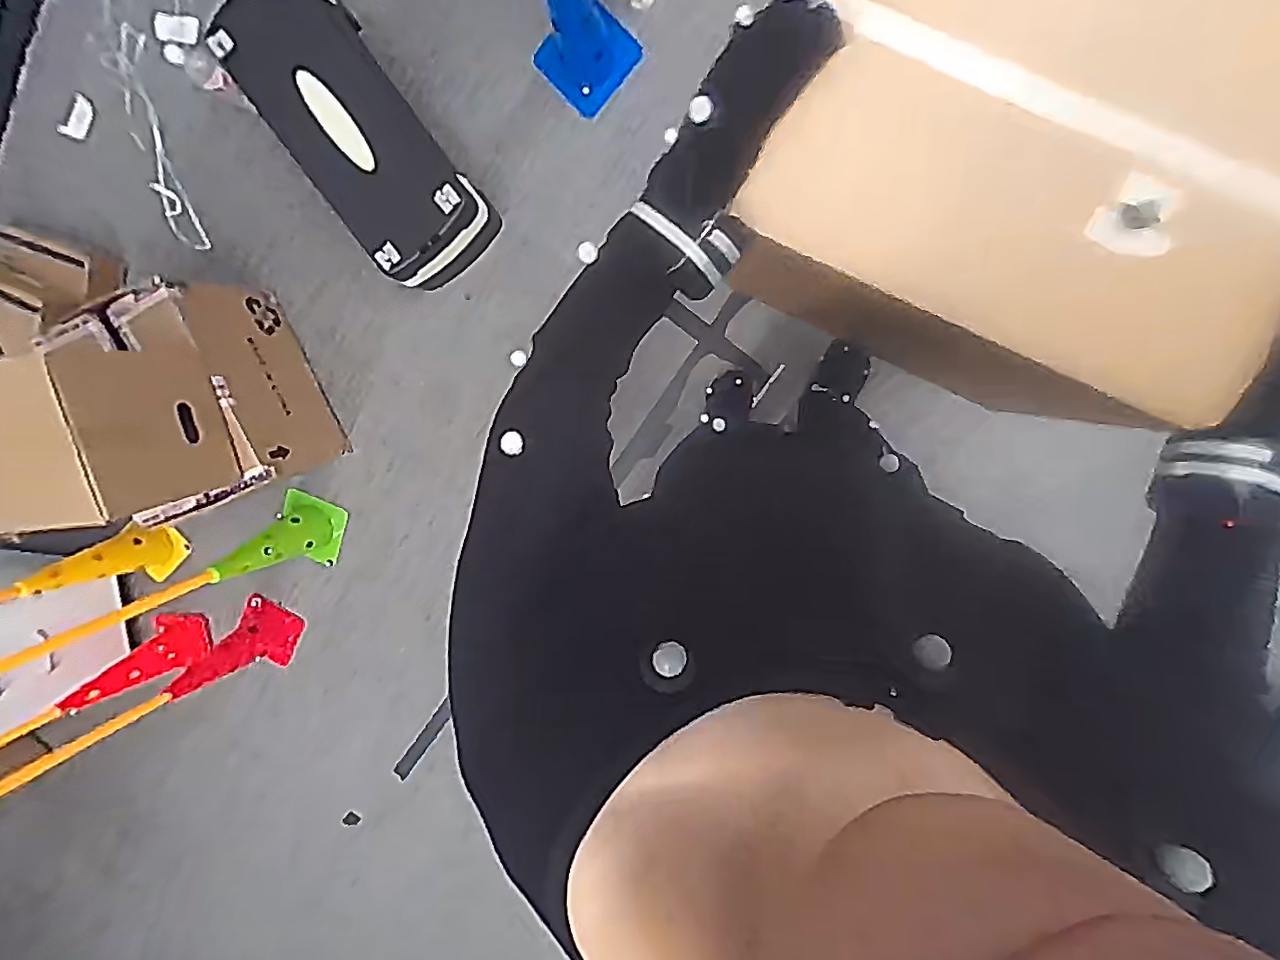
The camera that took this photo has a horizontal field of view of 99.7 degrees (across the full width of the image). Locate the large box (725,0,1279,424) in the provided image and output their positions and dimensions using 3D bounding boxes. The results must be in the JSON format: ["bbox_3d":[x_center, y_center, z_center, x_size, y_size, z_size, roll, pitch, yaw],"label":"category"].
[{"bbox_3d":[0.335,-0.286,0.545,0.408,0.320,0.320,27,103,2],"label":"large box"}]
